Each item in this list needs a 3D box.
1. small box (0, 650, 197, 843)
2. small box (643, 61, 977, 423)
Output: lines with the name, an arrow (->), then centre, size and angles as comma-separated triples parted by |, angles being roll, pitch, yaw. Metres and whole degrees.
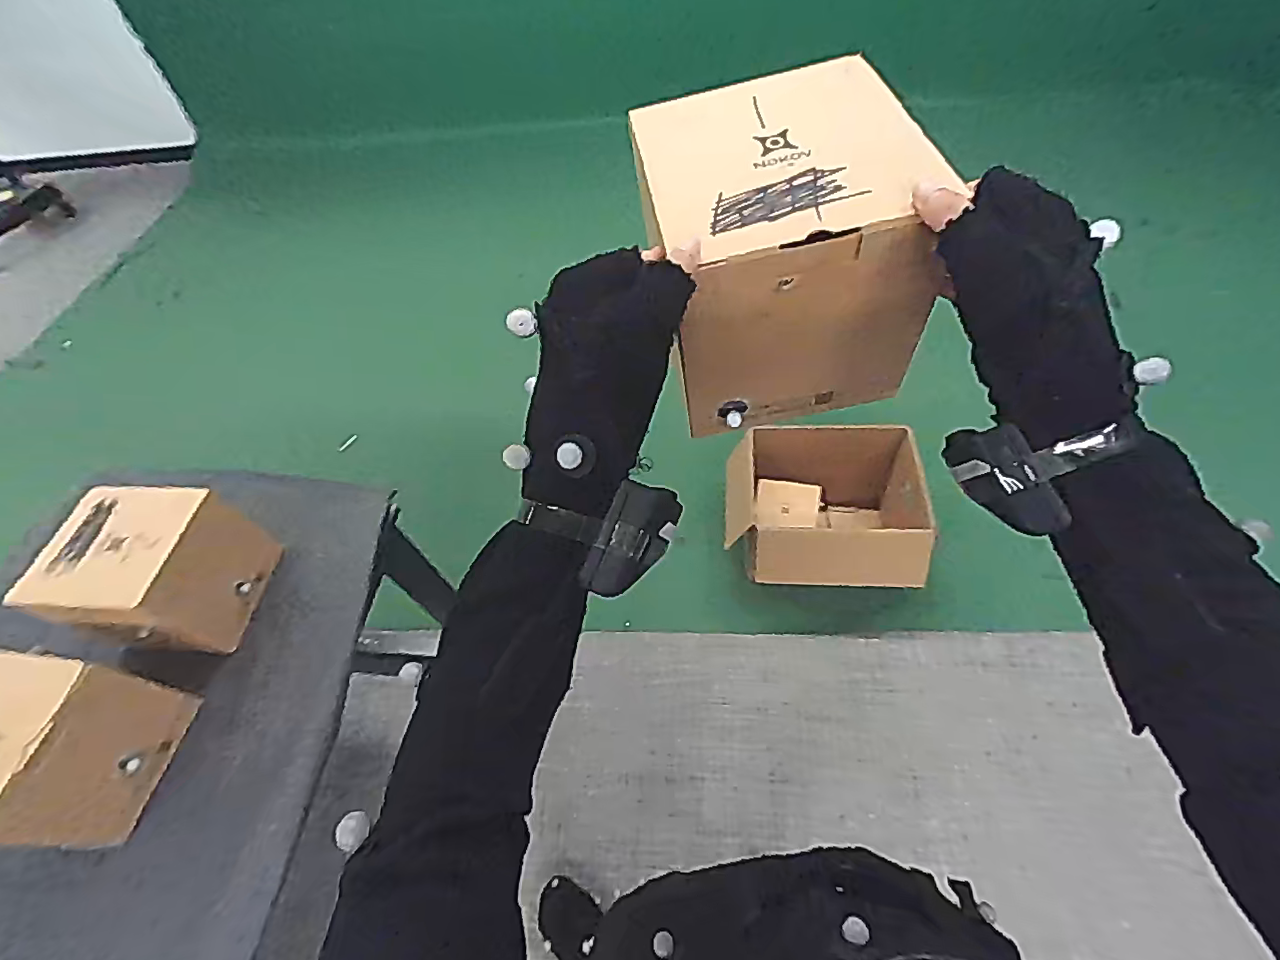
small box -> -0.680, 0.304, 0.616 | 0.179, 0.176, 0.168 | 4, 56, 8
small box -> 0.104, -0.159, 0.402 | 0.168, 0.176, 0.179 | -11, 59, 4
